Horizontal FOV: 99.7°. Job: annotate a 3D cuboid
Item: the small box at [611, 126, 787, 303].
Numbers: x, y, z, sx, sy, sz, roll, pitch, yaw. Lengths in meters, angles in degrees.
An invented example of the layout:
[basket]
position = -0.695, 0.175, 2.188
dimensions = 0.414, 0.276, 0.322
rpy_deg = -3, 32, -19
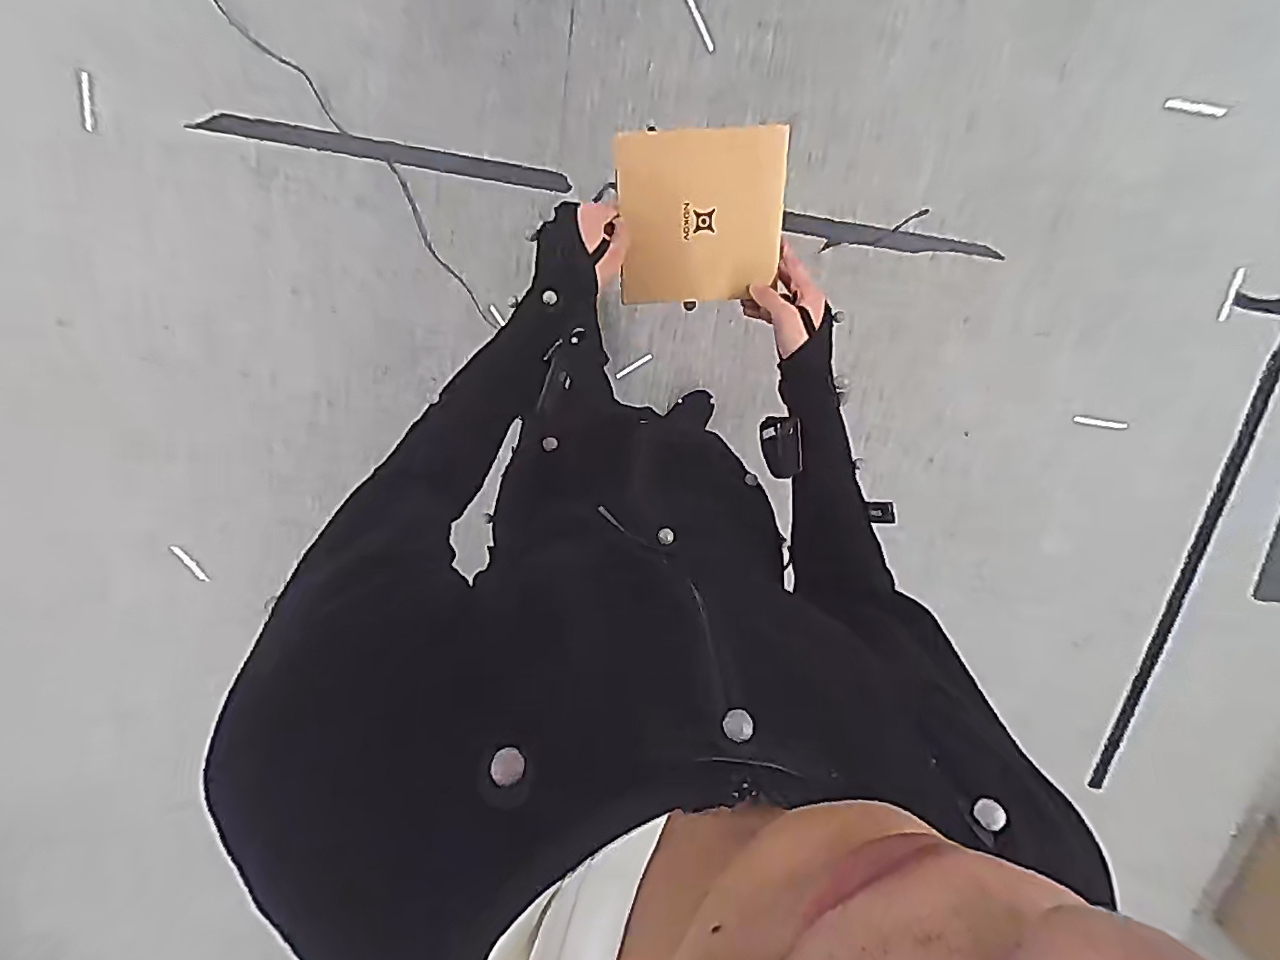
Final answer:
[small box]
position = 0.061, -0.312, 0.635
dimensions = 0.179, 0.176, 0.168
rpy_deg = -2, 120, 2
